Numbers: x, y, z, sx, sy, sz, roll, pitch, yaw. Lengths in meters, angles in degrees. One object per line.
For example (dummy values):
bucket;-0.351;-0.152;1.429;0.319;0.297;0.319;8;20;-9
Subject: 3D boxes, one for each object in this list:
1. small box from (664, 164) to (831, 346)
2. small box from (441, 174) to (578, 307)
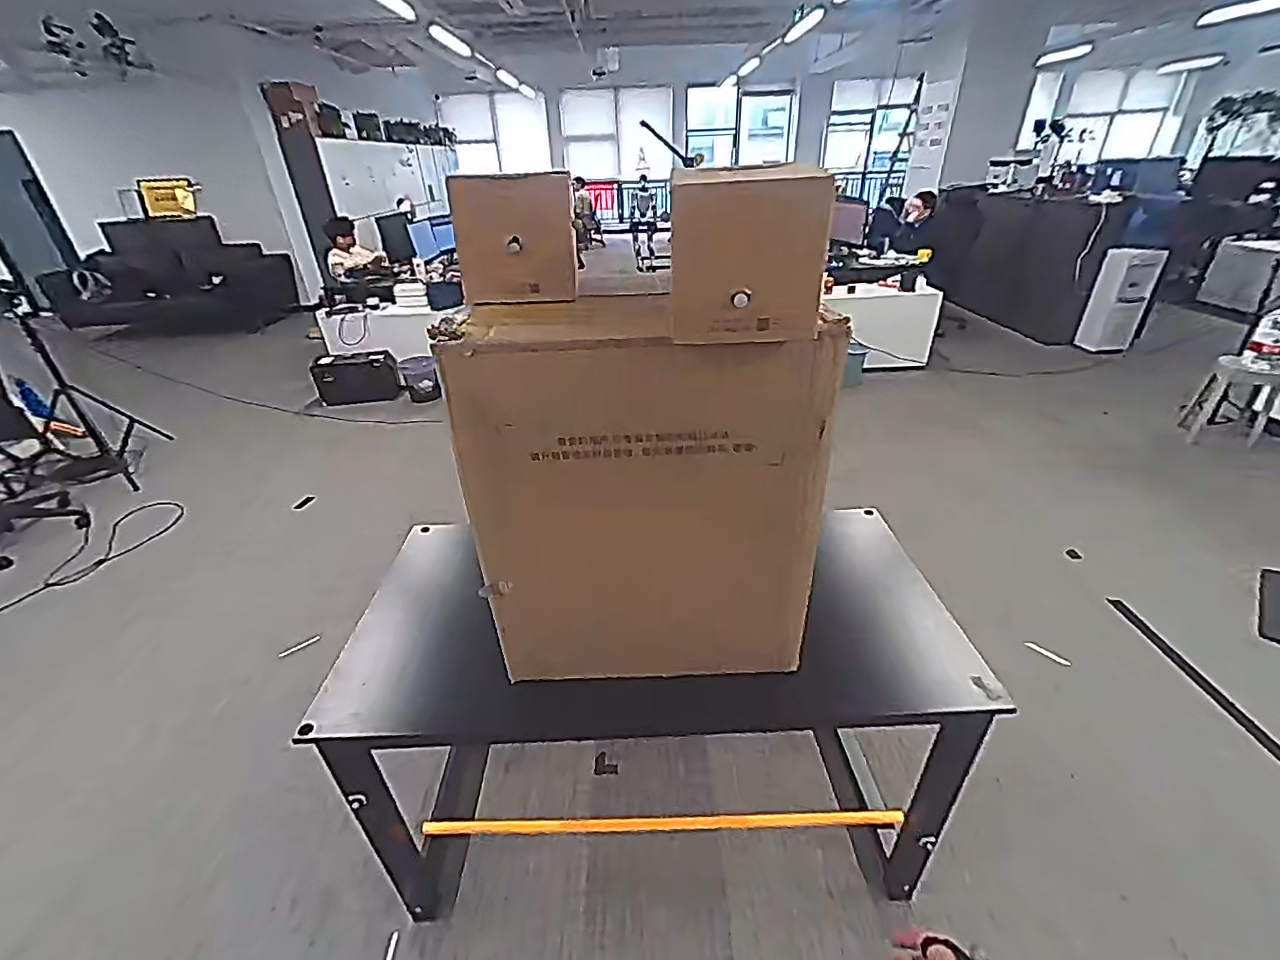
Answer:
small box;0.118;-0.269;0.644;0.168;0.176;0.179;-2;34;6
small box;-0.186;-0.365;0.828;0.168;0.176;0.179;-4;30;-3
